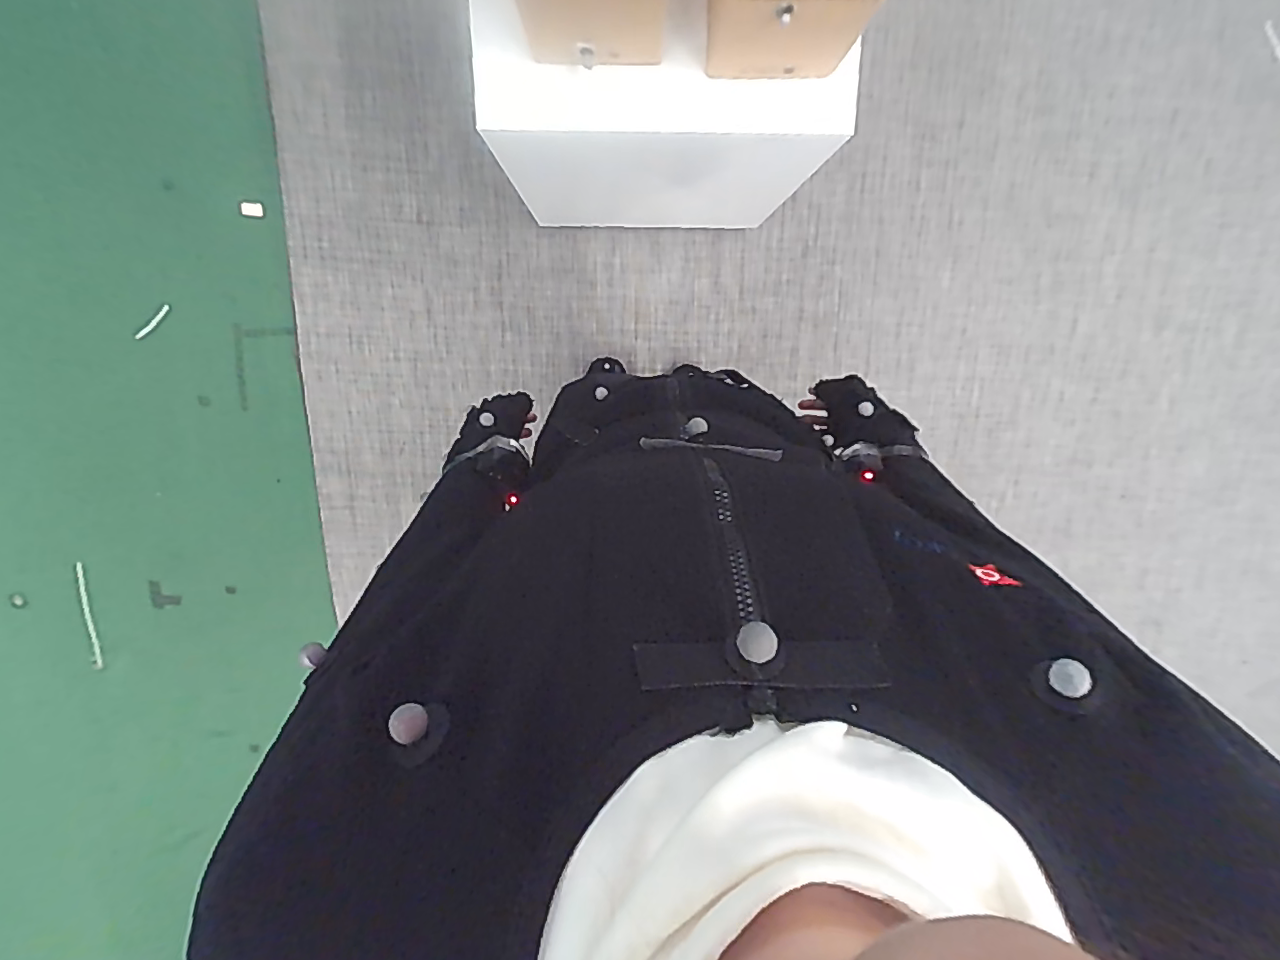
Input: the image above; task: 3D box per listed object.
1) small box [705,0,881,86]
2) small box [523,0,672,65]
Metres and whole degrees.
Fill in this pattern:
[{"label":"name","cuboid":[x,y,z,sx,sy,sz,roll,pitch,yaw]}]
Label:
[{"label":"small box","cuboid":[0.168,-0.595,0.620,0.168,0.176,0.179,0,101,-1]},{"label":"small box","cuboid":[-0.051,-0.603,0.600,0.168,0.176,0.179,-2,103,0]}]
